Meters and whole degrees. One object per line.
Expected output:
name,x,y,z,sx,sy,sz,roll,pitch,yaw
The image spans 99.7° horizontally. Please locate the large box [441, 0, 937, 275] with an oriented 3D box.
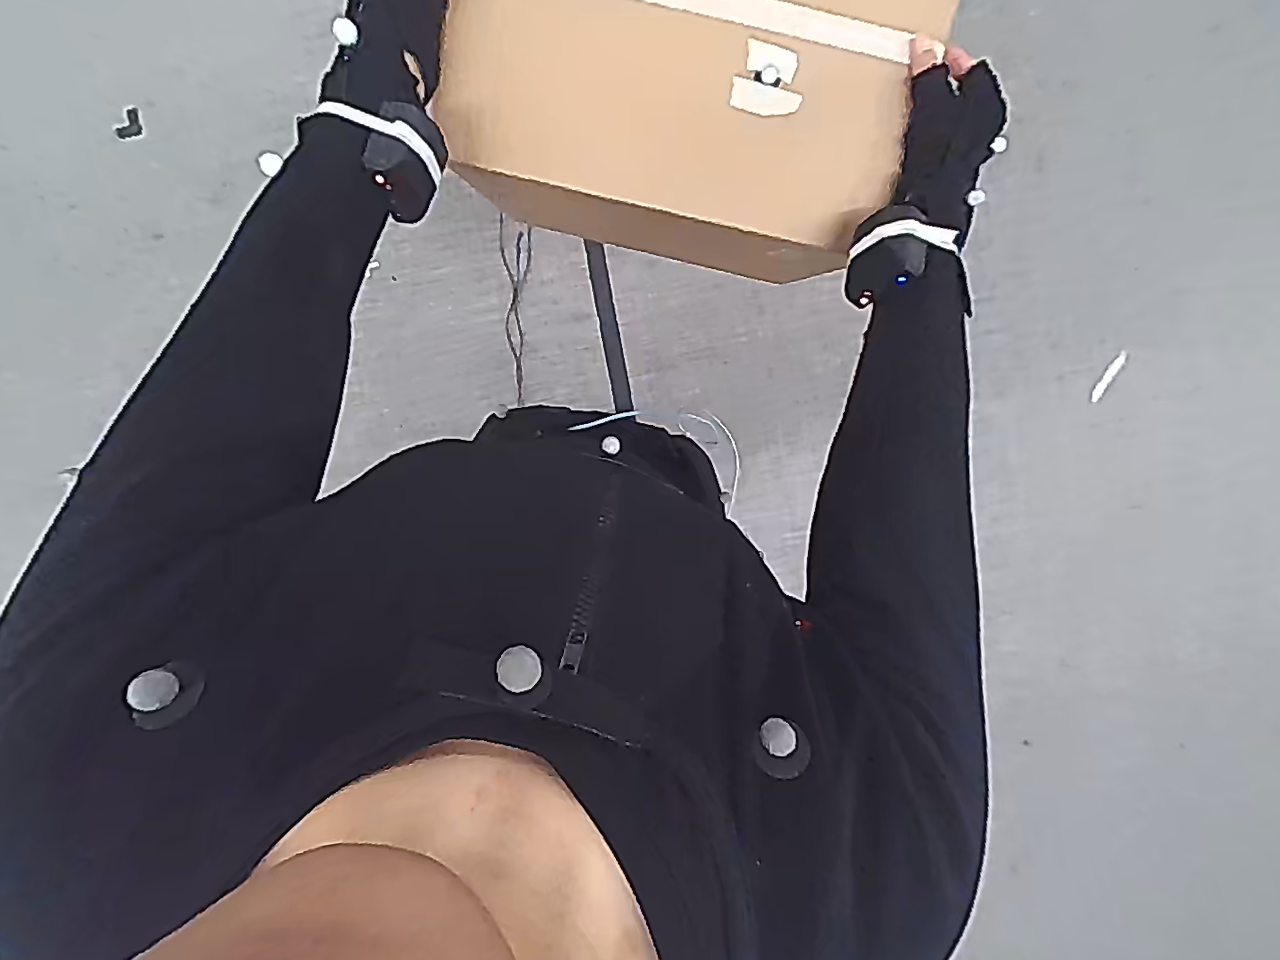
large box,0.040,-0.432,0.590,0.408,0.320,0.320,10,106,-4
